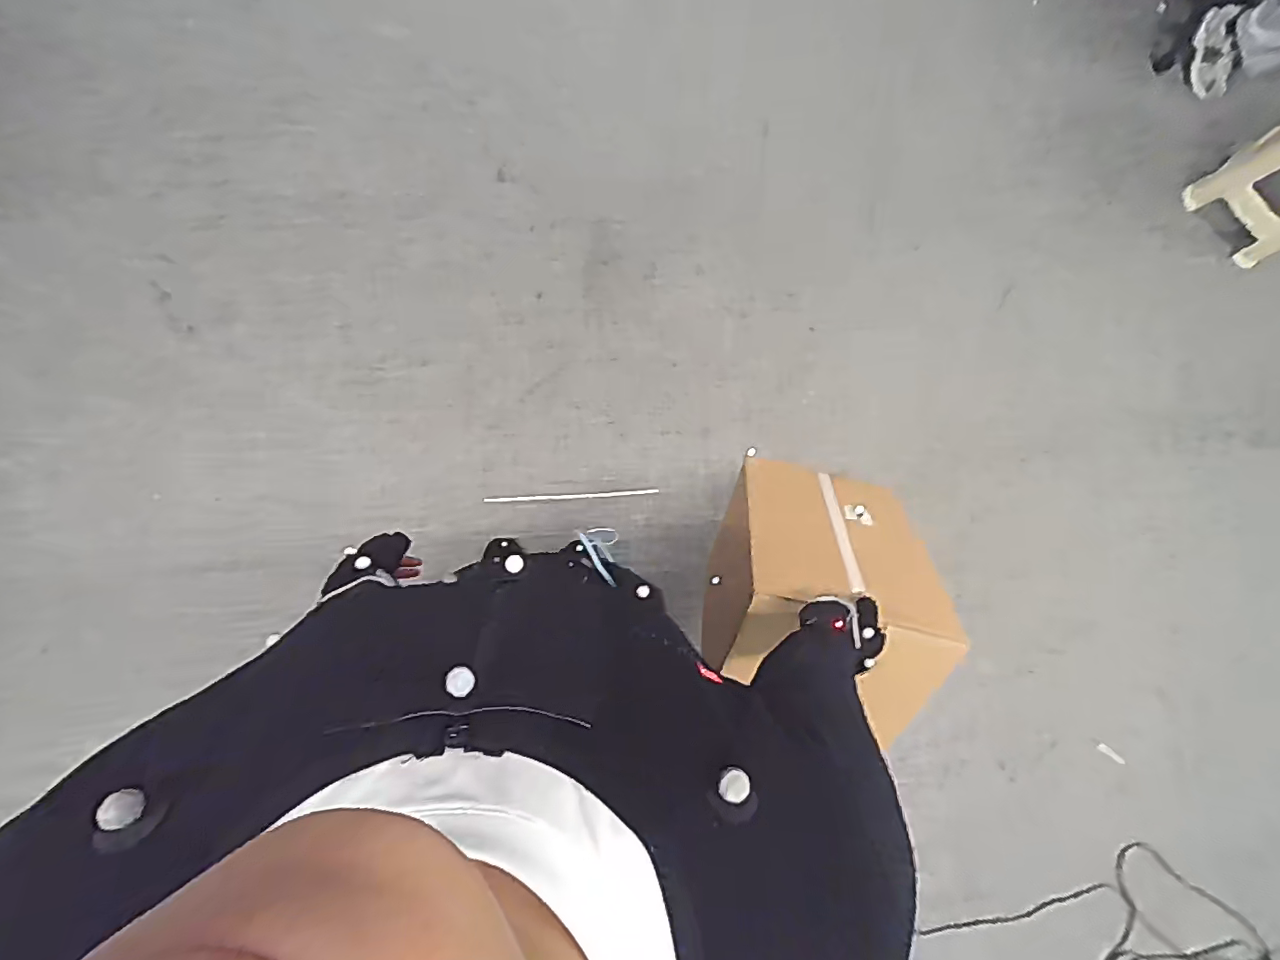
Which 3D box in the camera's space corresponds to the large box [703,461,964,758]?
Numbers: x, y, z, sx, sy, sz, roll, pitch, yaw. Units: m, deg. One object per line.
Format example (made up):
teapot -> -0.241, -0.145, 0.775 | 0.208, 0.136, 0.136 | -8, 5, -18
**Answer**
large box -> 0.303, 0.220, 1.001 | 0.320, 0.408, 0.320 | 15, 121, 0
